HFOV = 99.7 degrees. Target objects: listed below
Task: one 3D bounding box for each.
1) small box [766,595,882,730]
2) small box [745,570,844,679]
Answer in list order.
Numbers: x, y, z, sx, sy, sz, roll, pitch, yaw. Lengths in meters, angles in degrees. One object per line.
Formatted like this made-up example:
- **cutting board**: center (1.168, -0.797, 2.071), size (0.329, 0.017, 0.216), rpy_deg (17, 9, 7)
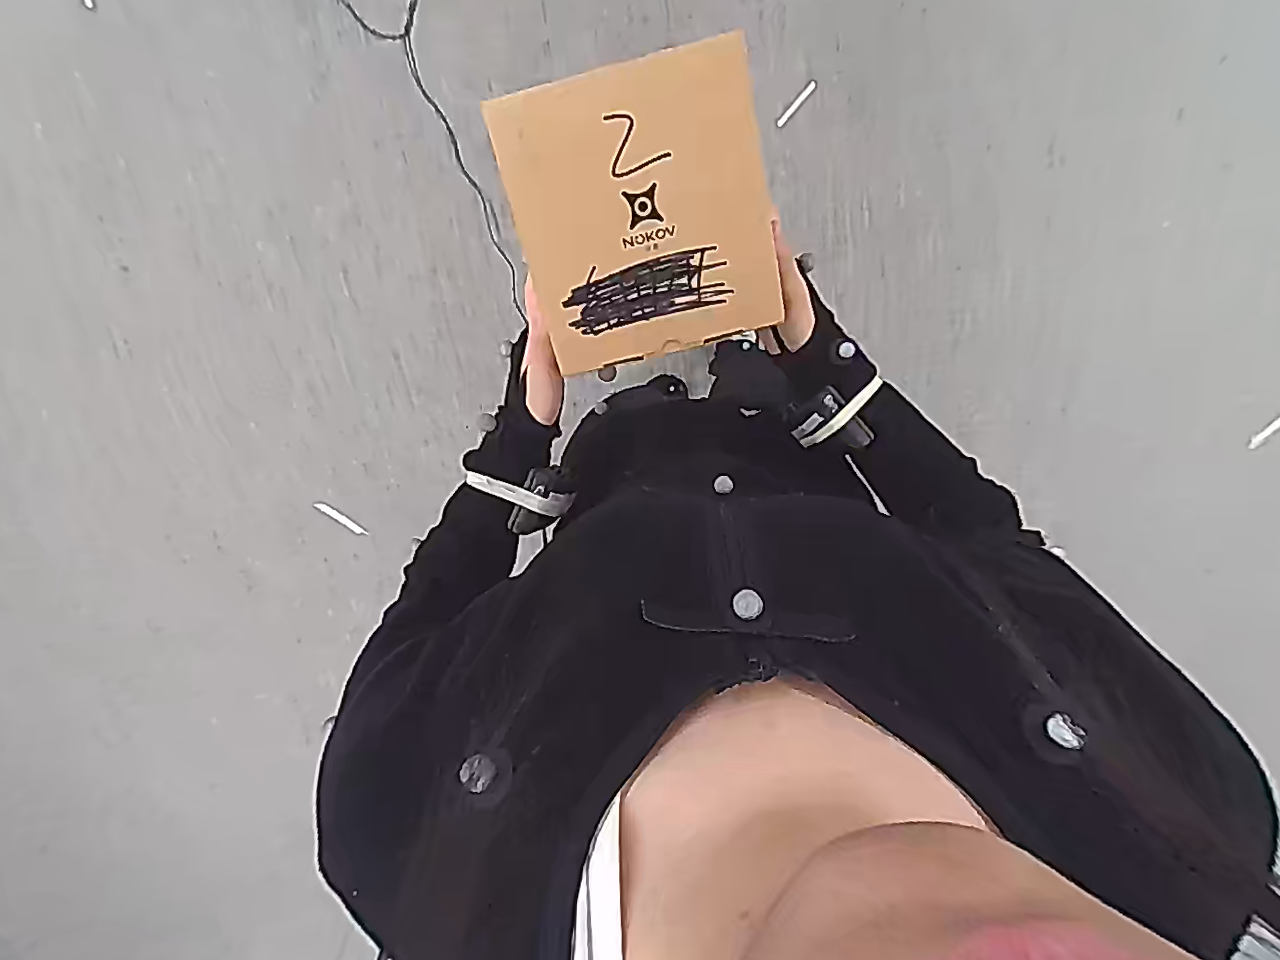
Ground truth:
- **small box**: center (0.347, 0.345, 1.041), size (0.168, 0.176, 0.179), rpy_deg (-8, 103, 1)
- **small box**: center (0.342, 0.313, 1.200), size (0.179, 0.176, 0.168), rpy_deg (-9, 104, 2)
